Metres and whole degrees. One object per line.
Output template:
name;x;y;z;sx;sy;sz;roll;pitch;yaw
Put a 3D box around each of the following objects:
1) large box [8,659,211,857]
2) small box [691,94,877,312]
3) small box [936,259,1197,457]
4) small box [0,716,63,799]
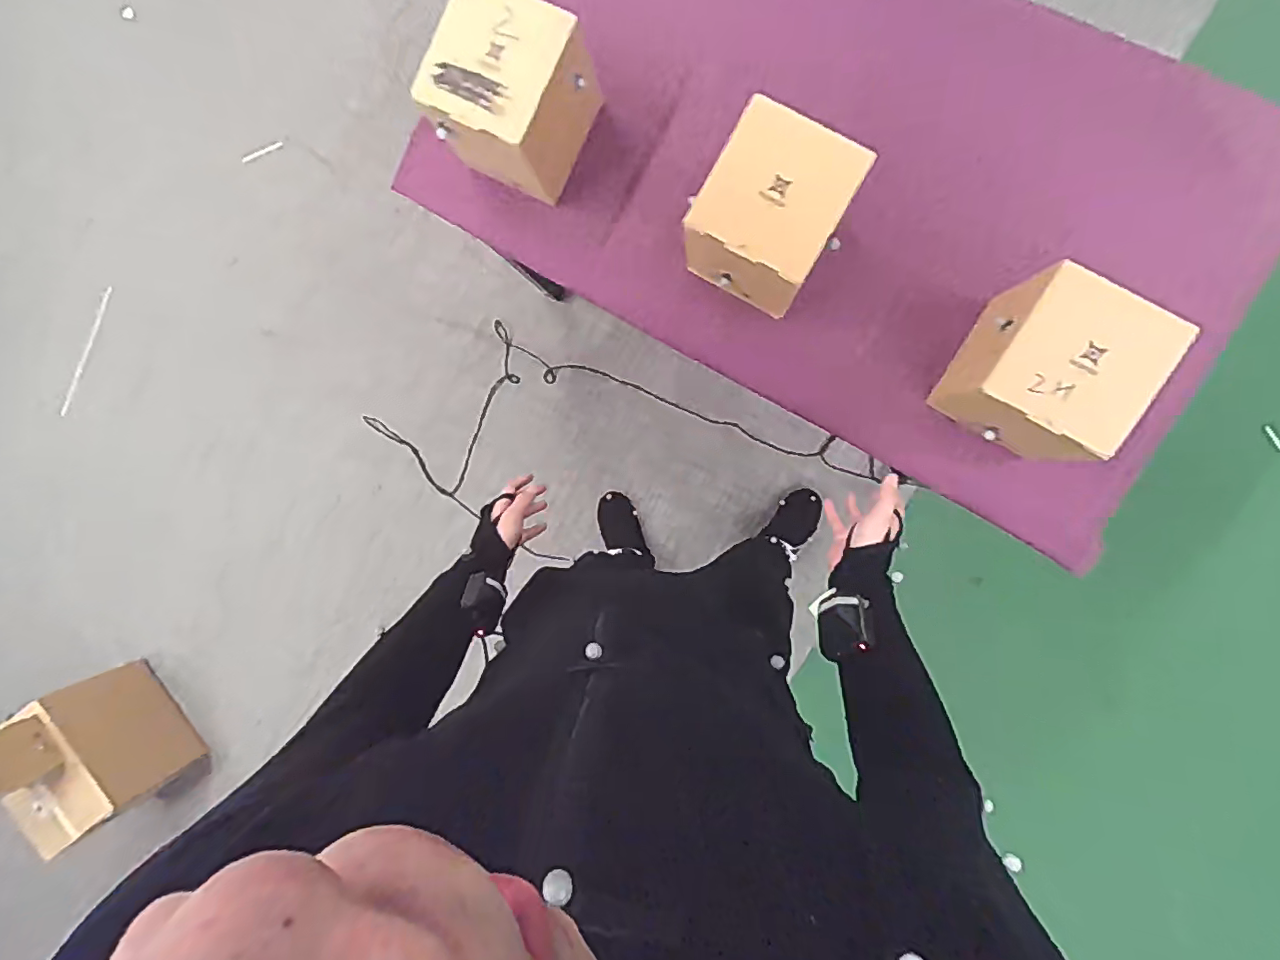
large box;-1.731;0.869;1.740;0.320;0.320;0.408;-37;90;9
small box;0.180;-0.358;0.735;0.168;0.176;0.179;30;97;3
small box;0.529;-0.146;0.705;0.168;0.176;0.179;31;97;5
small box;-1.781;0.794;1.493;0.179;0.176;0.168;-31;91;7
